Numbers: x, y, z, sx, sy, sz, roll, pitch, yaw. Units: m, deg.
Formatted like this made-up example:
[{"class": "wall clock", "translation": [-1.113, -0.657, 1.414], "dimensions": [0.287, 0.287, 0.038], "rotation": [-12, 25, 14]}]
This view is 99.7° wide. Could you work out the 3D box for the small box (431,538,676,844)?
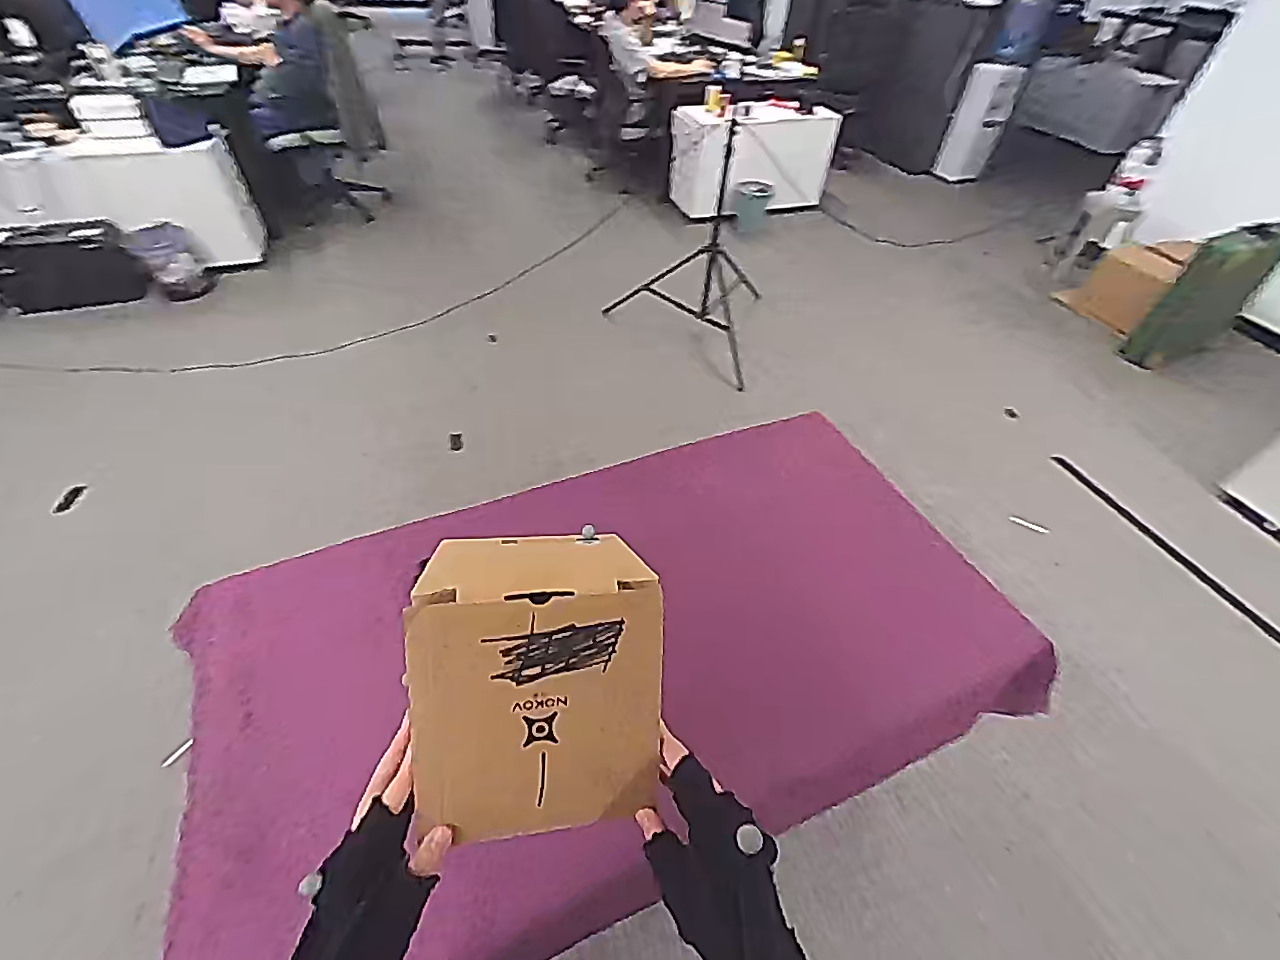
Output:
[{"class": "small box", "translation": [-0.074, 0.146, 0.443], "dimensions": [0.168, 0.179, 0.176], "rotation": [-1, 6, -13]}]
